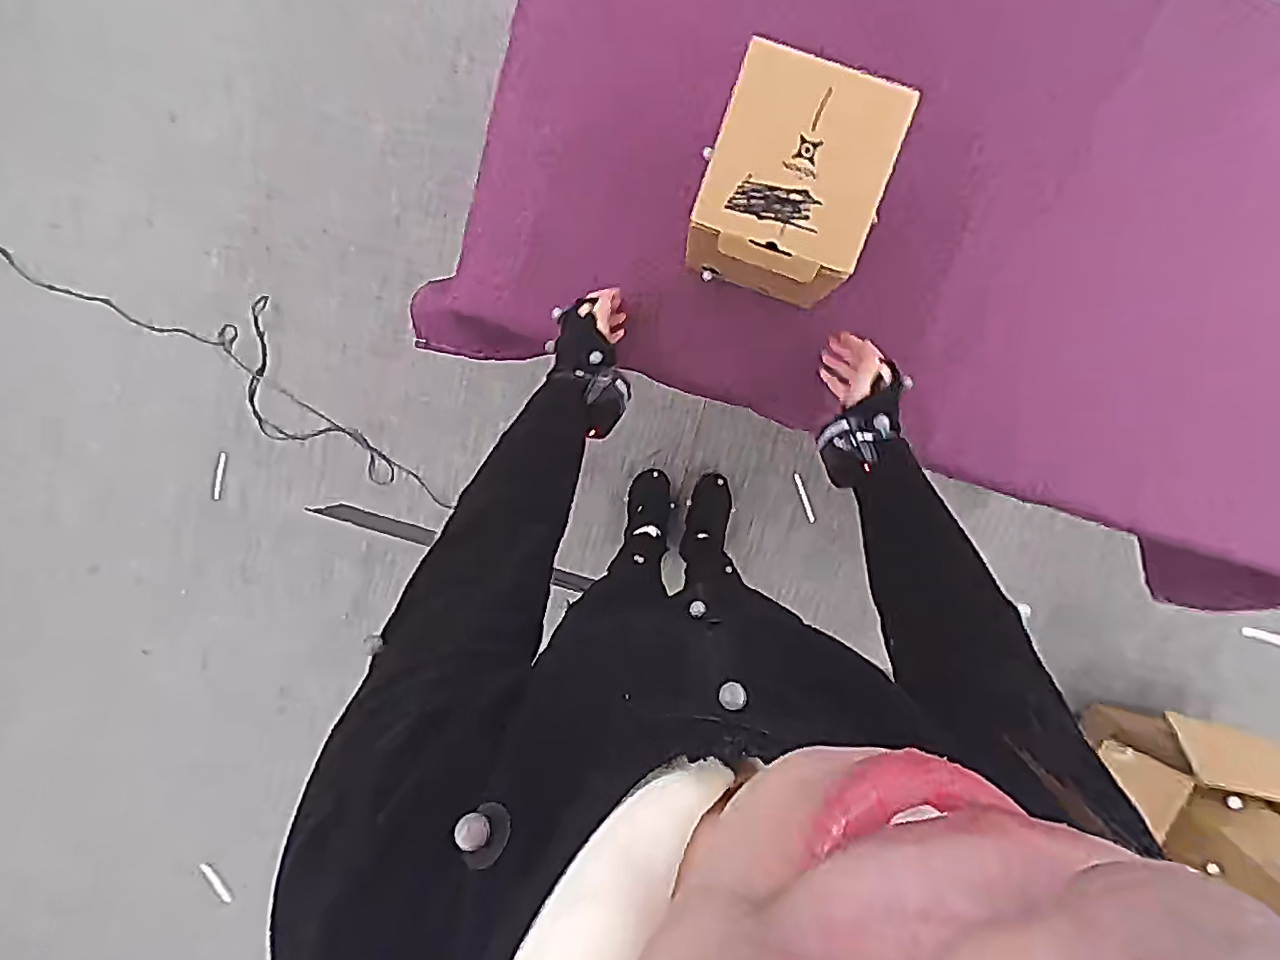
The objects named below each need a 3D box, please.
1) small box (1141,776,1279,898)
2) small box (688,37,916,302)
[{"bbox_3d":[1.300,0.804,1.234,0.168,0.176,0.179,-4,101,7],"label":"small box"},{"bbox_3d":[0.157,-0.314,0.590,0.168,0.176,0.179,20,98,0],"label":"small box"}]
